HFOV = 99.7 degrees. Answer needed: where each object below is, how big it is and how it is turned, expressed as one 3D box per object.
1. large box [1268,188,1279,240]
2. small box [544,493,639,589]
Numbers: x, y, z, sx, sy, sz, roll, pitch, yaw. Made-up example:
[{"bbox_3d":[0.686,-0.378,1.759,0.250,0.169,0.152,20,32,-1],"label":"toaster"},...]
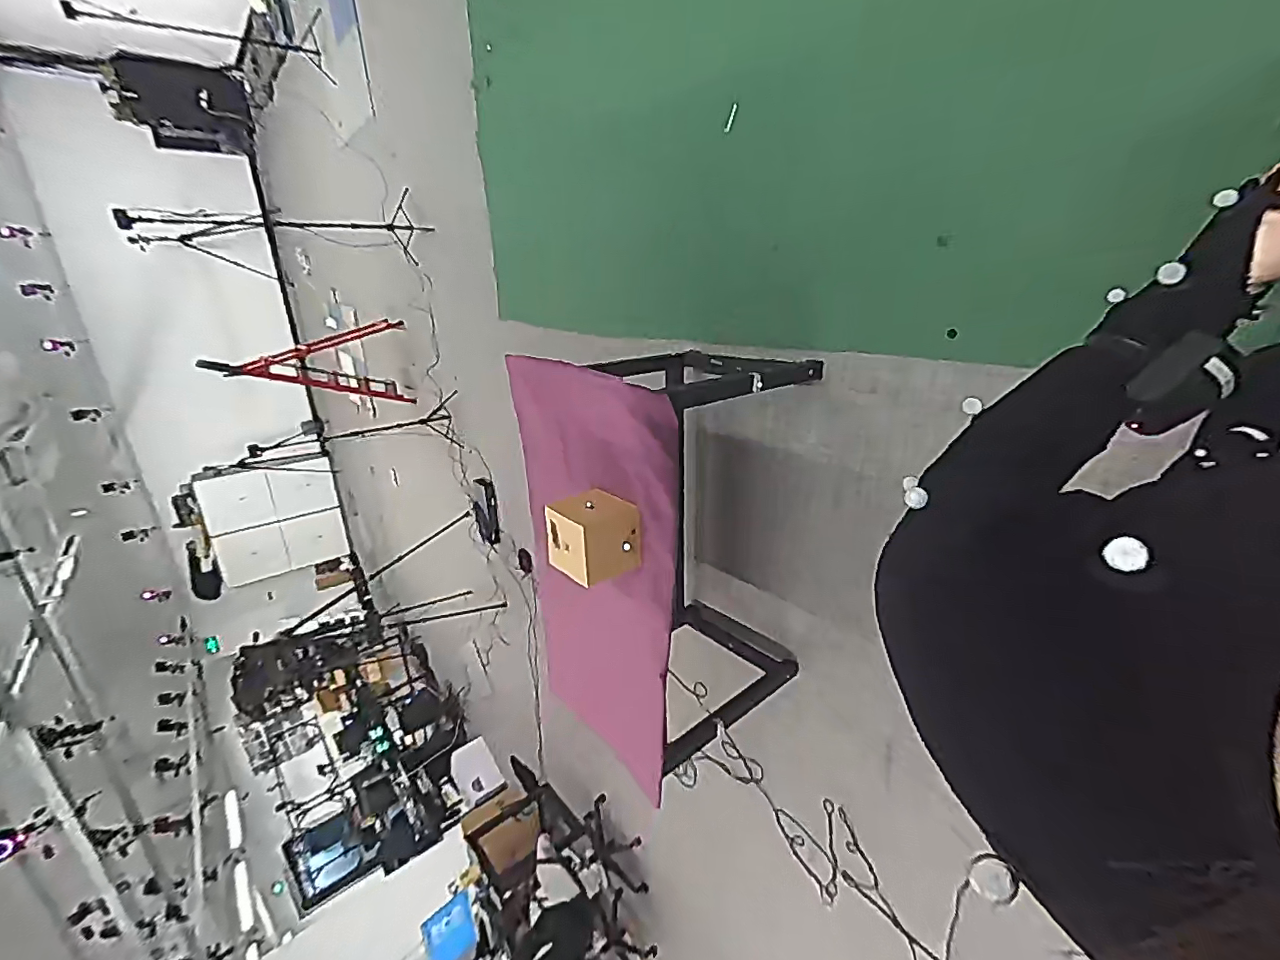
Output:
[{"bbox_3d":[1.101,-0.469,0.643,0.408,0.320,0.320,22,121,45],"label":"large box"},{"bbox_3d":[-0.119,0.142,1.352,0.179,0.176,0.168,21,120,47],"label":"small box"}]
